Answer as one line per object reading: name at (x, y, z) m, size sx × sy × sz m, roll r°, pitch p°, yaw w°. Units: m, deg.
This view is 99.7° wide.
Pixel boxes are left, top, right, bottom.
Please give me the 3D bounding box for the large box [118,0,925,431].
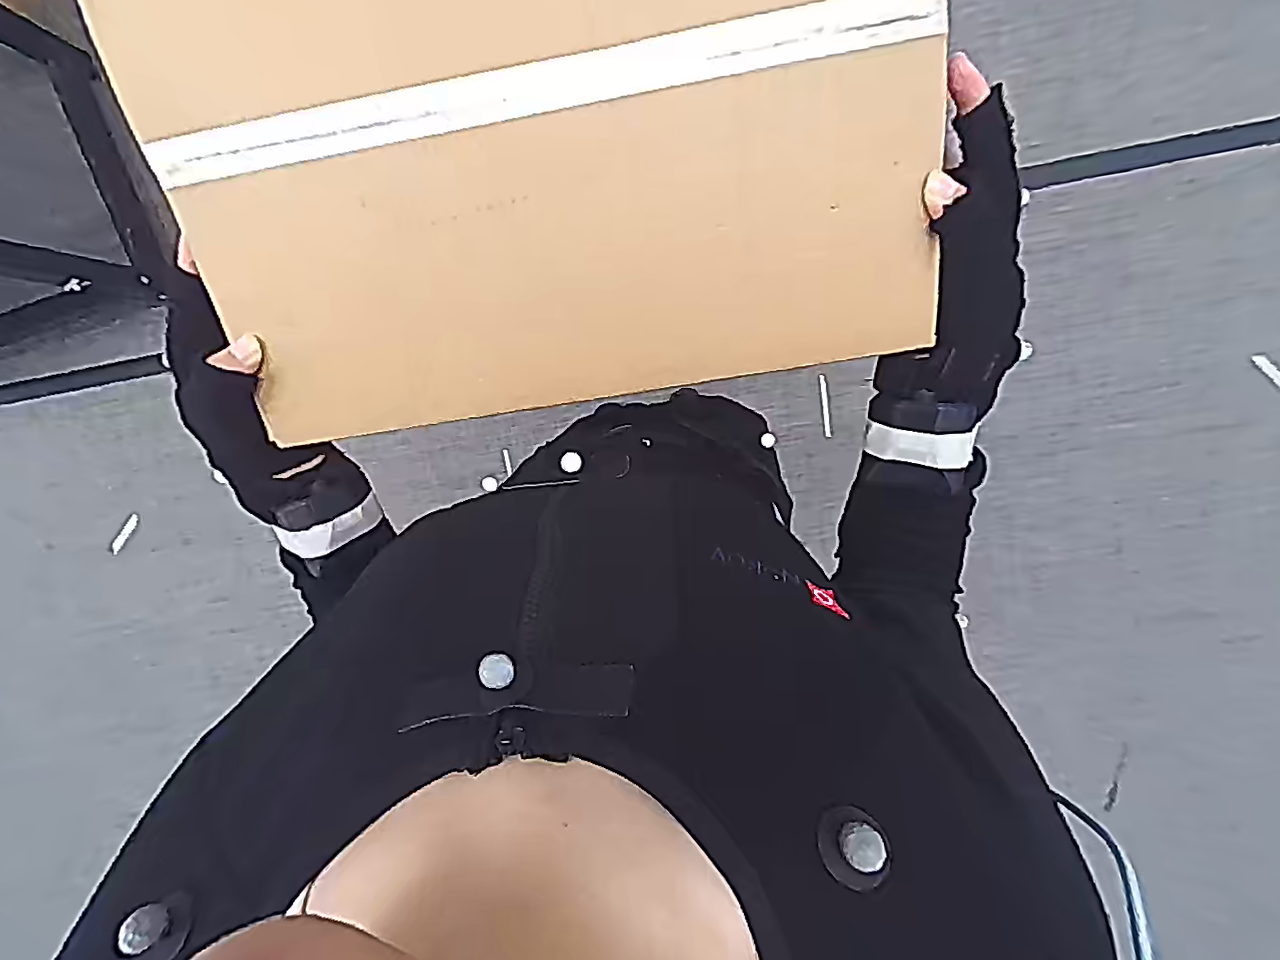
large box at (-0.053, -0.255, 0.421) m, size 0.408 × 0.320 × 0.320 m, roll -8°, pitch 112°, yaw 4°
